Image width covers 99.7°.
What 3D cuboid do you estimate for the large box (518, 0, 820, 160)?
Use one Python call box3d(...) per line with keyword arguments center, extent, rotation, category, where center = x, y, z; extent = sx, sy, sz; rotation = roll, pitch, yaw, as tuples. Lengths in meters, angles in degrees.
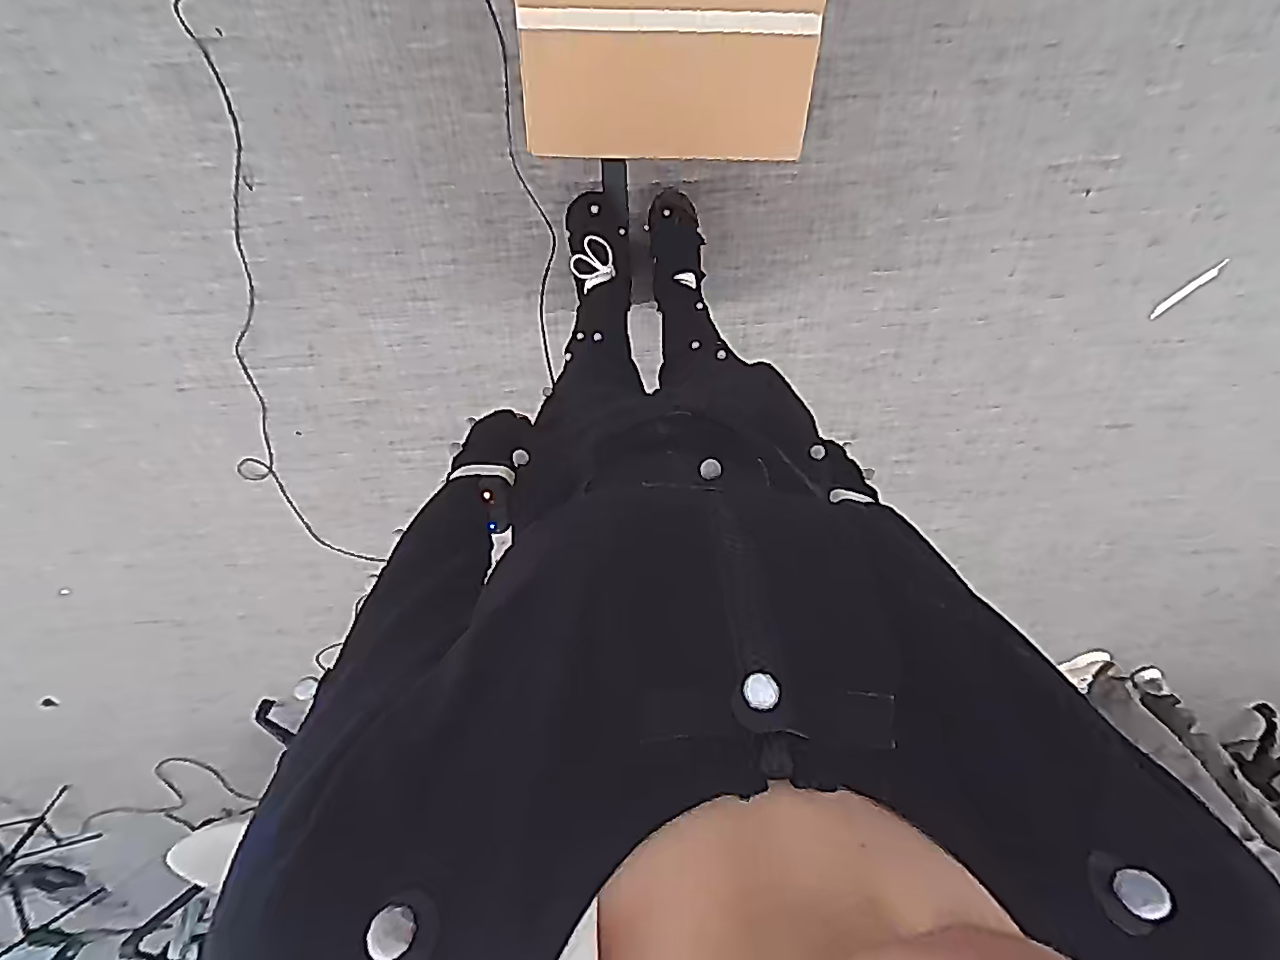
box3d(center=(0.031, -0.691, 0.839), extent=(0.408, 0.320, 0.320), rotation=(-1, 126, -3), category="large box")
